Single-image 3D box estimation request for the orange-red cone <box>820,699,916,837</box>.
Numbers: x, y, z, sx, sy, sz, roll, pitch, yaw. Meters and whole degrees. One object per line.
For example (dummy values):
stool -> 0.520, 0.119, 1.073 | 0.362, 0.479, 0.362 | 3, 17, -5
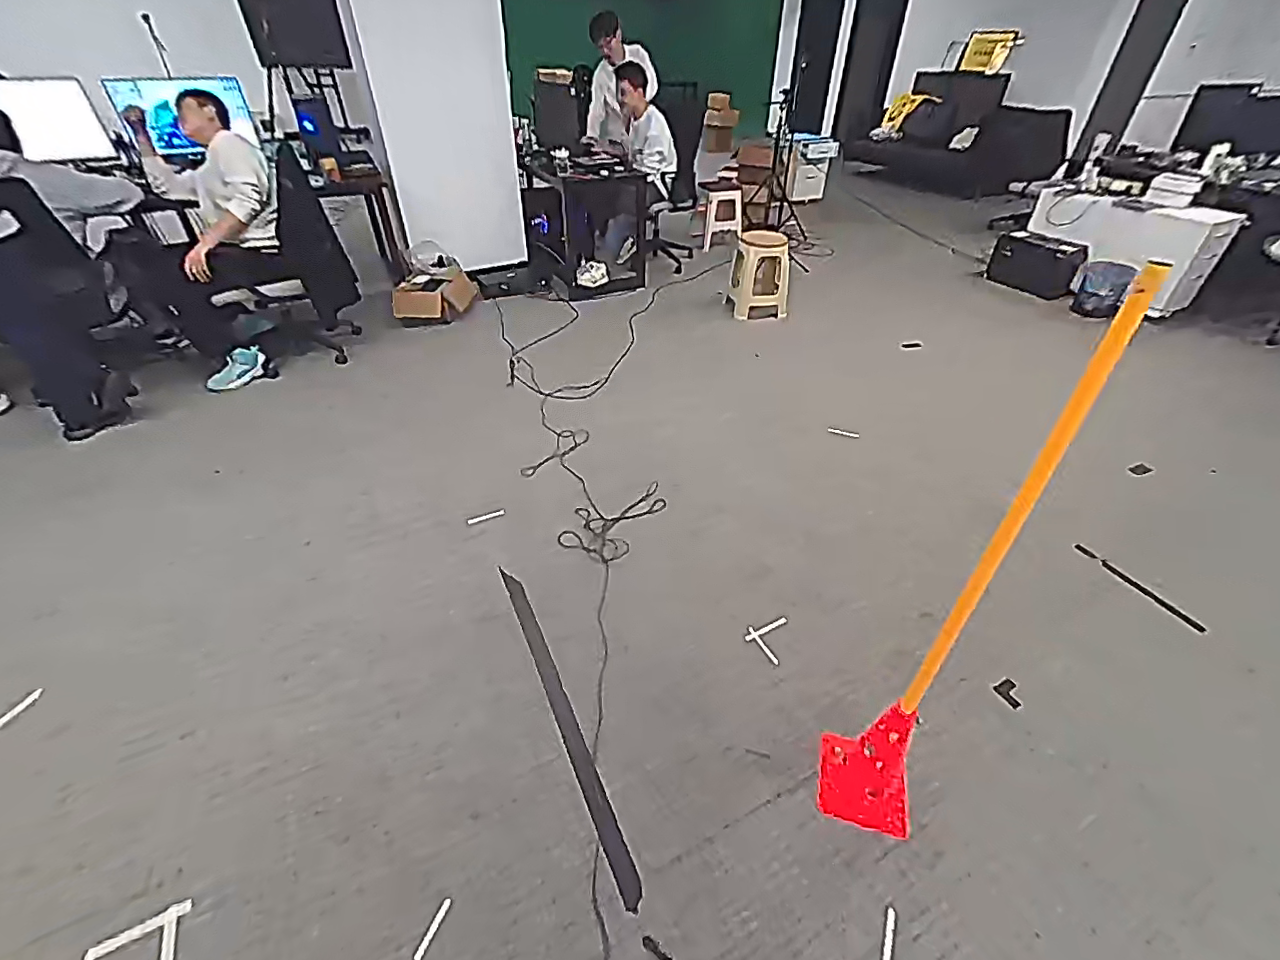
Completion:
orange-red cone -> 0.533, 0.588, 1.182 | 0.198, 0.360, 0.199 | 11, 41, 15
